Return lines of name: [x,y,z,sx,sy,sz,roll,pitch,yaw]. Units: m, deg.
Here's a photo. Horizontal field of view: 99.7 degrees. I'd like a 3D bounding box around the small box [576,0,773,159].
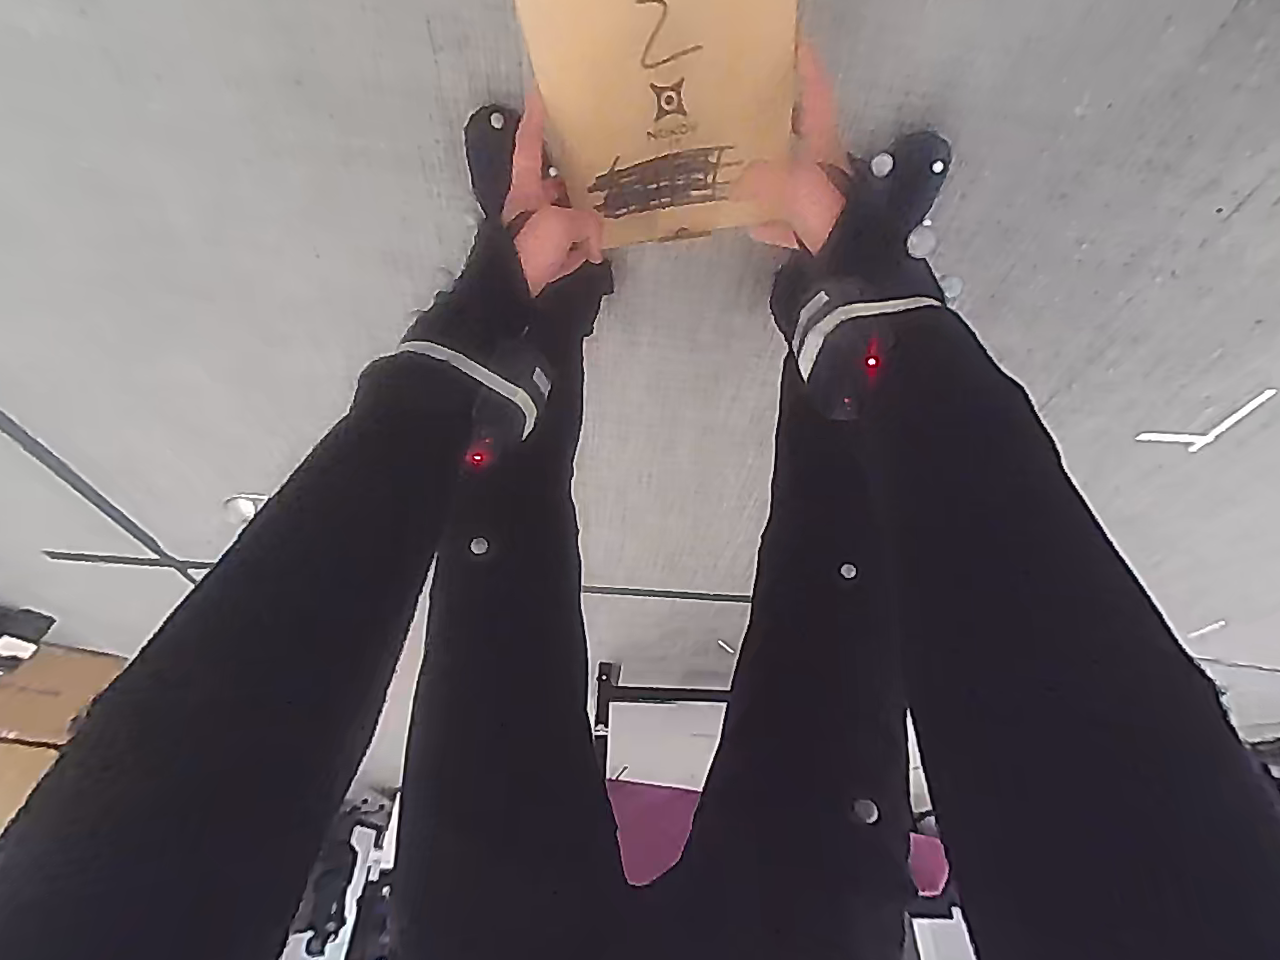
small box: [0.033,-0.445,0.519,0.168,0.176,0.179,-4,143,7]
